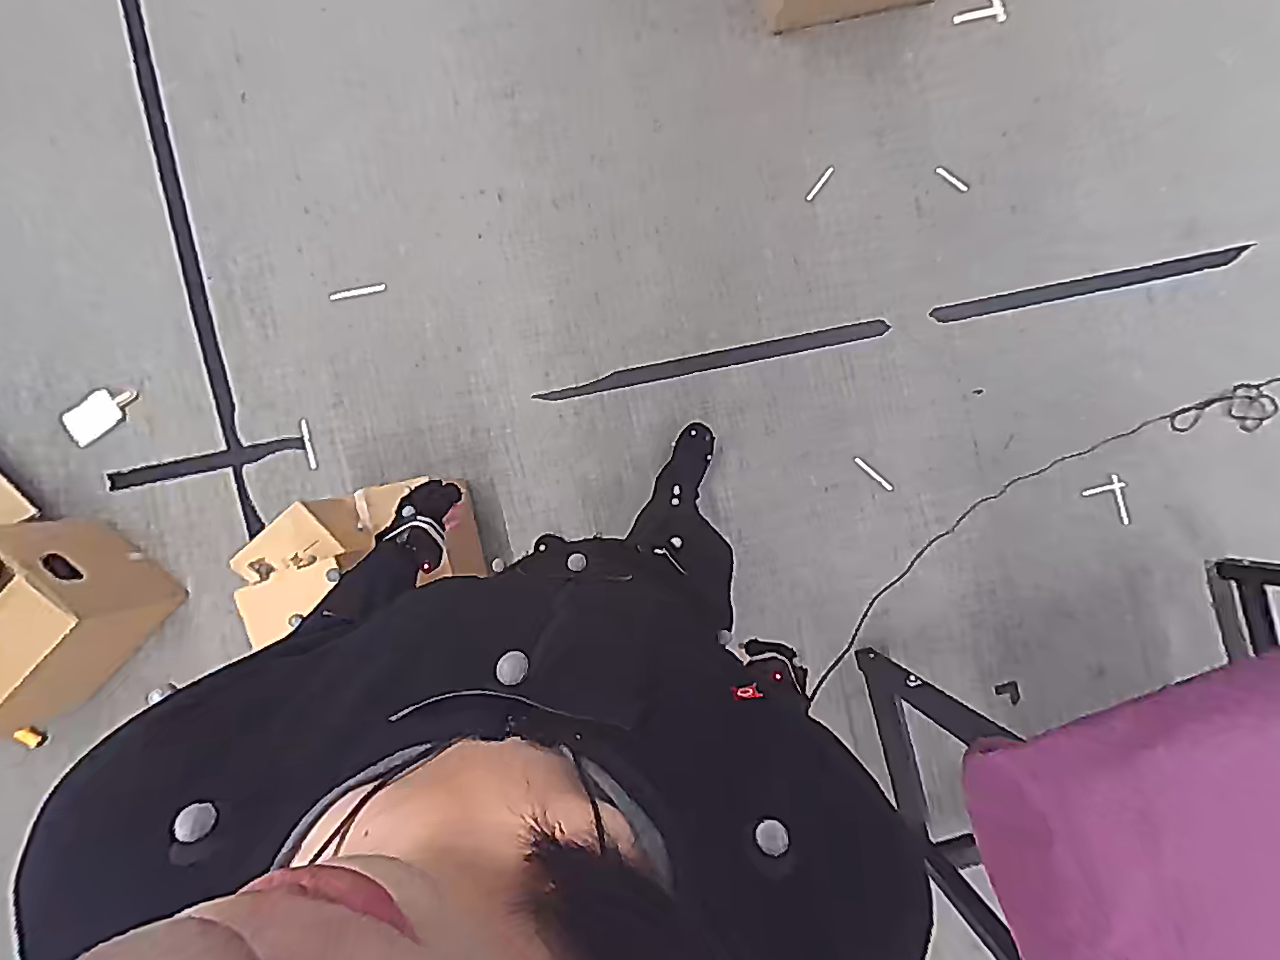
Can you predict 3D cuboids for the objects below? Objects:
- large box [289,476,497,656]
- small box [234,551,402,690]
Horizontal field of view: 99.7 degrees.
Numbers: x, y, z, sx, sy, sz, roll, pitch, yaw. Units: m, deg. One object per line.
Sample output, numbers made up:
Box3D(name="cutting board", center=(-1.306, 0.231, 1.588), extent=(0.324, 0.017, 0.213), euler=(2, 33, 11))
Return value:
Box3D(name="large box", center=(-0.583, 0.223, 1.343), extent=(0.320, 0.320, 0.408), euler=(-14, 89, -4))
Box3D(name="small box", center=(-0.544, 0.229, 0.938), extent=(0.168, 0.176, 0.179), euler=(-19, 90, -4))
